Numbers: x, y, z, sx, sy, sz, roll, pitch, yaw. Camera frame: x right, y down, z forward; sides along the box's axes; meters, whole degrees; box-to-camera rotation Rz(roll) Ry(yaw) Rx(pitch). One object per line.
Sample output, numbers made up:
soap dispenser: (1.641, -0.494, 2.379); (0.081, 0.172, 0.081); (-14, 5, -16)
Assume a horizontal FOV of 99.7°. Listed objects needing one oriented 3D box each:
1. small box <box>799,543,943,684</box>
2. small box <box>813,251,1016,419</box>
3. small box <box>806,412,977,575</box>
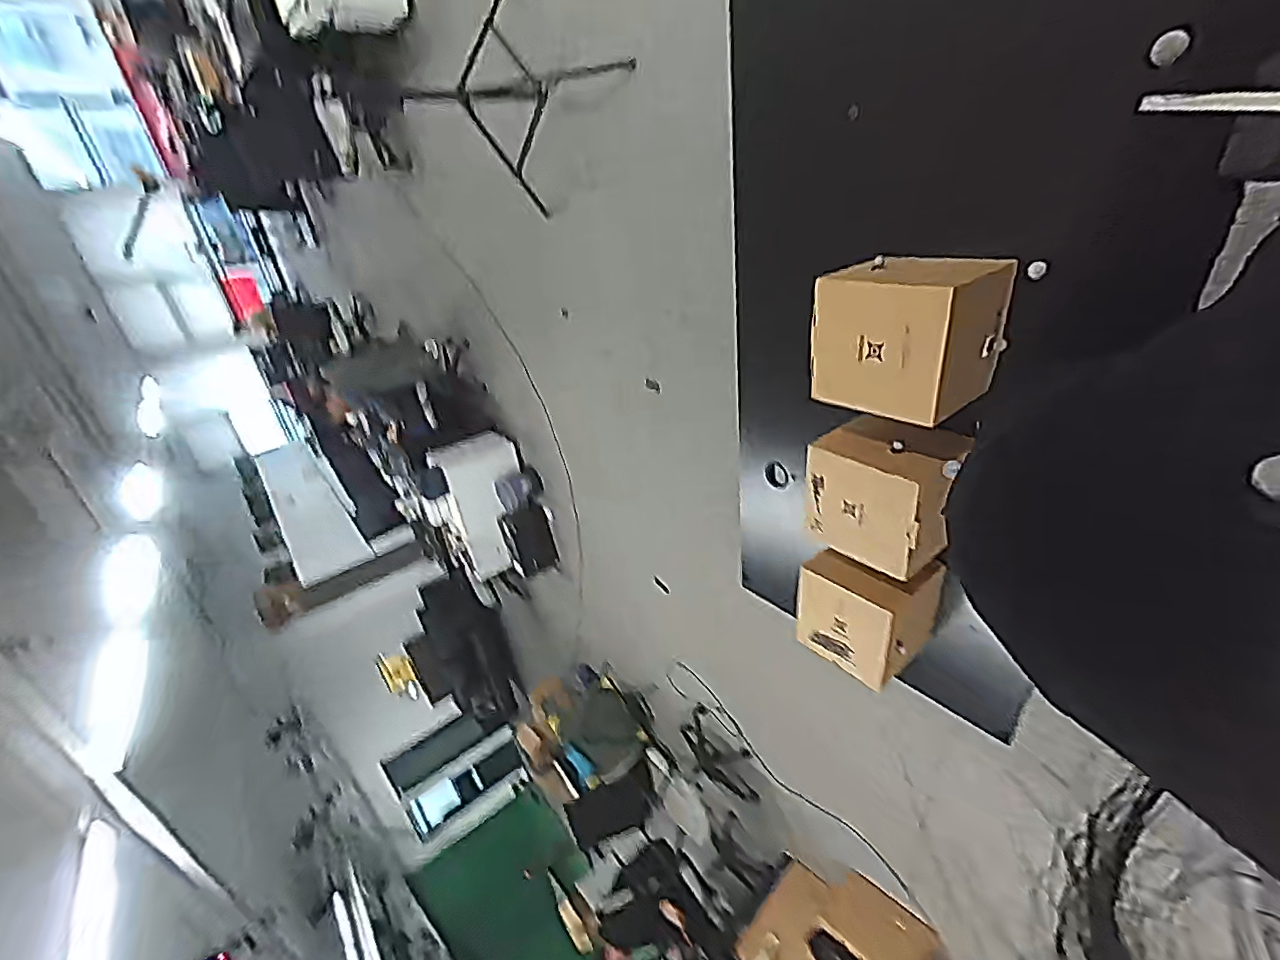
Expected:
small box: (0.400, 0.208, 0.946); (0.168, 0.176, 0.179); (27, 133, 45)
small box: (0.354, -0.200, 0.715); (0.179, 0.176, 0.168); (25, 134, 46)
small box: (0.380, 0.009, 0.828); (0.179, 0.176, 0.168); (27, 133, 45)
